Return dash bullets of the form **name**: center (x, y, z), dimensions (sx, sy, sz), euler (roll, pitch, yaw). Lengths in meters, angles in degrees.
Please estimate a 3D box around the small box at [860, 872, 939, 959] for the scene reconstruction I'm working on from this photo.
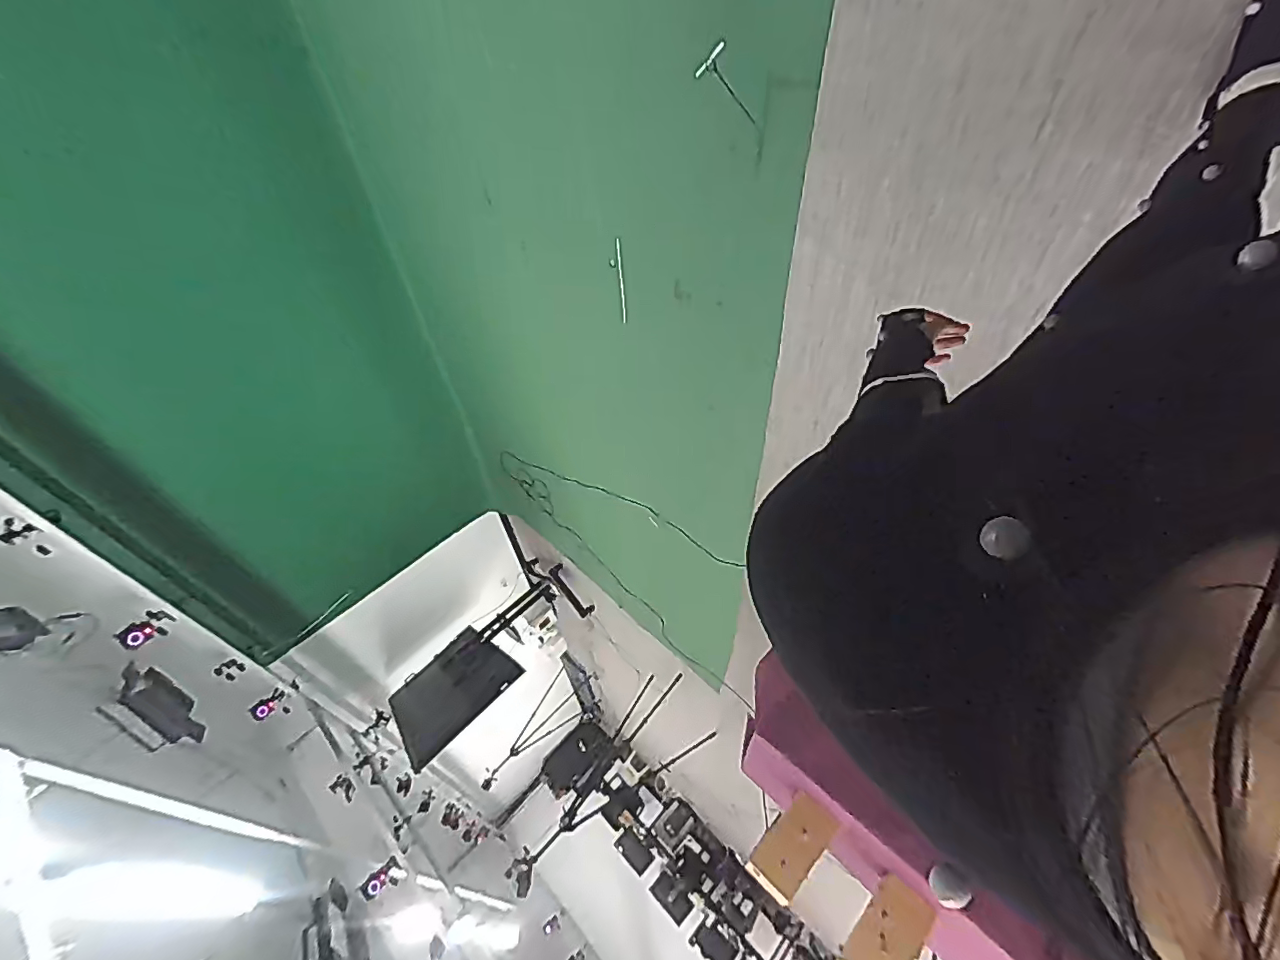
- **small box**: center (0.911, 1.528, 1.898), dimensions (0.179, 0.176, 0.168), euler (34, 150, 33)

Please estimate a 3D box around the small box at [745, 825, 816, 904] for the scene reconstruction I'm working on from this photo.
- **small box**: center (0.518, 1.414, 2.001), dimensions (0.179, 0.176, 0.168), euler (35, 149, 28)

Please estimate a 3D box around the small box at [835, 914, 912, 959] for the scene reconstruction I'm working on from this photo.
- **small box**: center (0.792, 1.626, 1.836), dimensions (0.168, 0.176, 0.179), euler (33, 149, 32)

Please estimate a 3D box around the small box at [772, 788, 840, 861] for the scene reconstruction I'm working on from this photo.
- **small box**: center (0.636, 1.325, 2.073), dimensions (0.179, 0.176, 0.168), euler (36, 150, 29)
